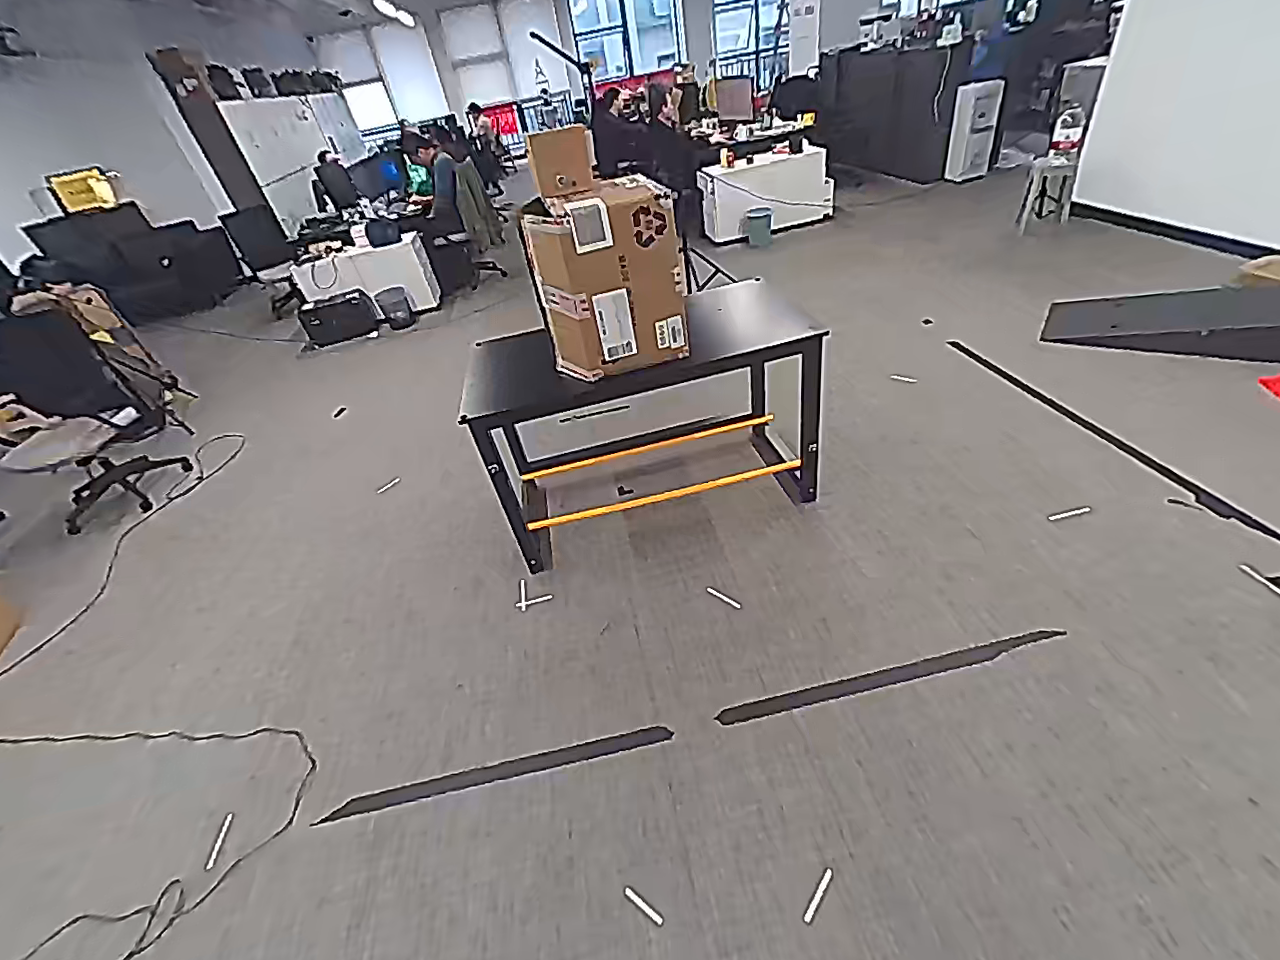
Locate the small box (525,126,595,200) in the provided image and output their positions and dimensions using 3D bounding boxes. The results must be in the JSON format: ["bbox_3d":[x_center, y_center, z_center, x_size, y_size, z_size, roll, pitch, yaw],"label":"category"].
[{"bbox_3d":[-0.244,-0.961,1.641,0.168,0.176,0.179,-17,36,-7],"label":"small box"}]
